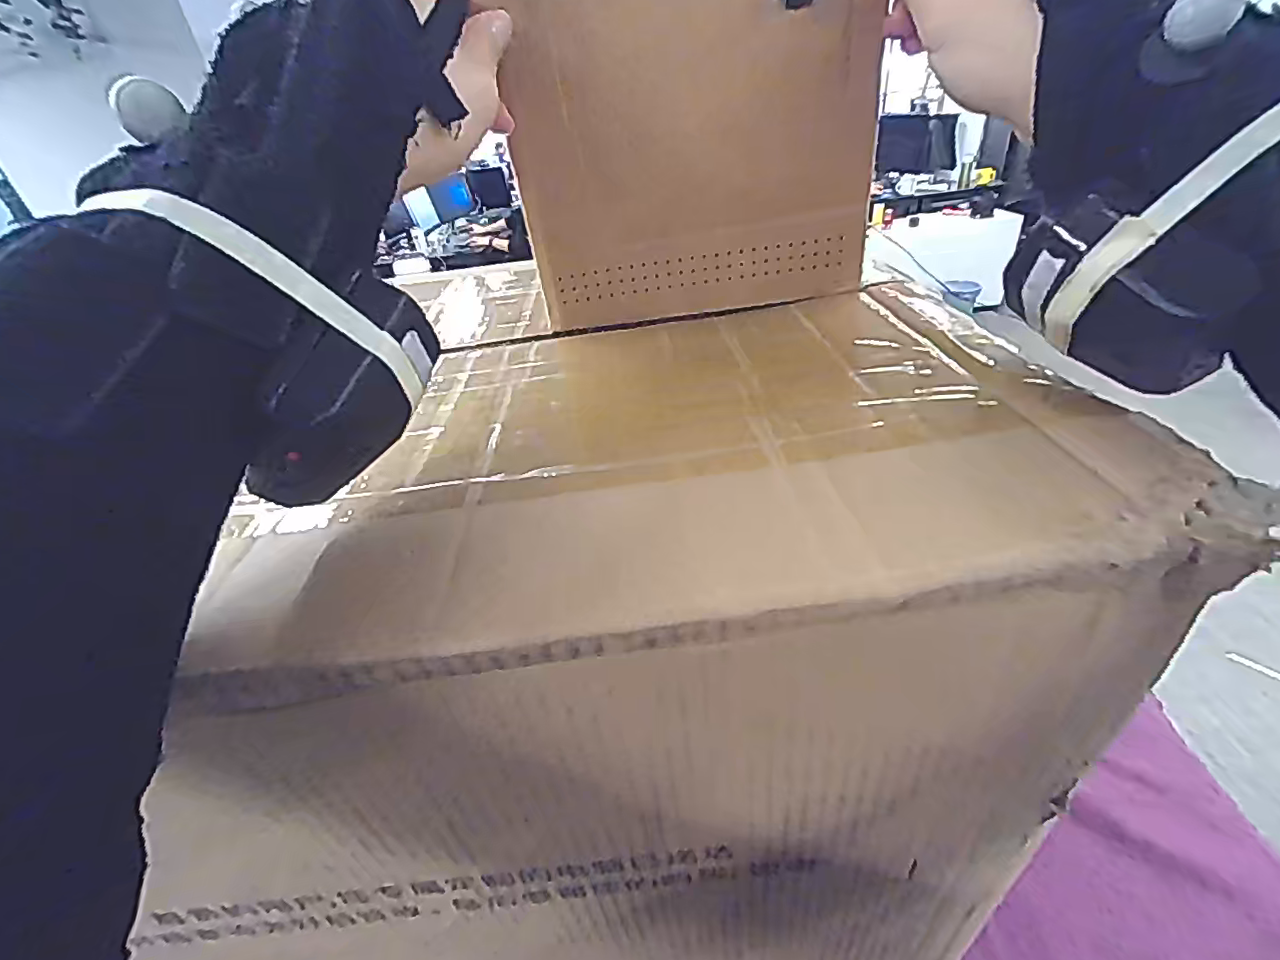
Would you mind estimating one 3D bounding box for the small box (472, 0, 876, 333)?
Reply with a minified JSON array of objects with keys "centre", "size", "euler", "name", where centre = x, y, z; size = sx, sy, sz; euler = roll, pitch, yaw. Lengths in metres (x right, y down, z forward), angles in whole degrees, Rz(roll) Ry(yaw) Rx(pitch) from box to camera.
[{"centre":[0.023,-0.197,0.317],"size":[0.179,0.176,0.168],"euler":[-7,36,3],"name":"small box"}]
